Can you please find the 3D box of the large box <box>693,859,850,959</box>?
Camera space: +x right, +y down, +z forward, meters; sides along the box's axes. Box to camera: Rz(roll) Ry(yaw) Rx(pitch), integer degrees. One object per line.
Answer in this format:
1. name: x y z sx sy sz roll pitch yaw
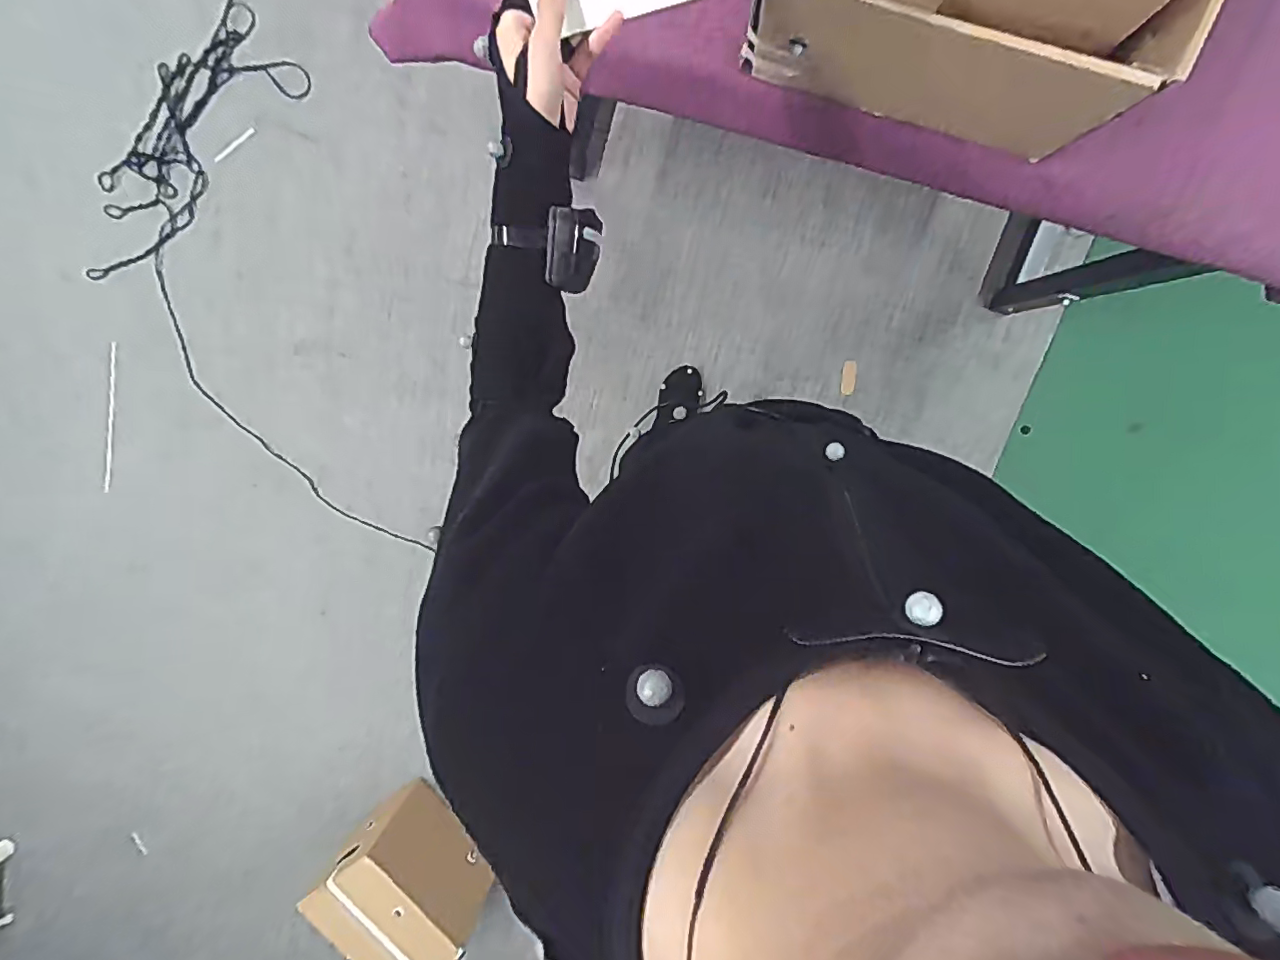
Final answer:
1. large box: 0.361 1.377 1.579 0.408 0.320 0.320 3 101 4
